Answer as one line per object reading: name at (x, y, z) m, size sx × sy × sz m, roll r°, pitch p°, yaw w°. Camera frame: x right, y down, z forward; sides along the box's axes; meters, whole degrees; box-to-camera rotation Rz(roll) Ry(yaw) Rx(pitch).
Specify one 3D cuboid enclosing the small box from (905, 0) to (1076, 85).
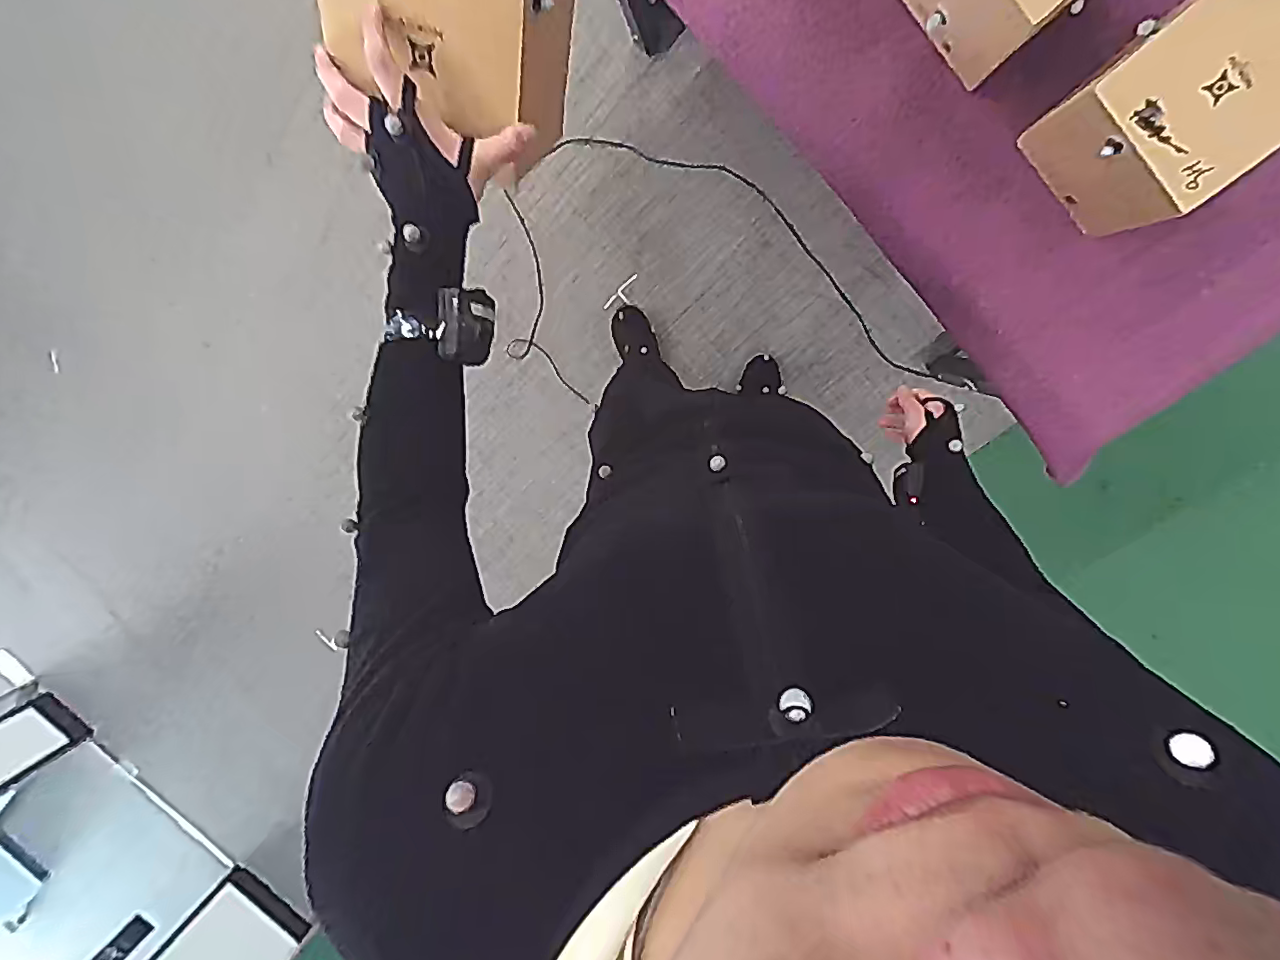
small box at (0.416, -0.583, 0.576) m, size 0.179 × 0.176 × 0.168 m, roll -38°, pitch 96°, yaw 20°

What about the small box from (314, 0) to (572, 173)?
small box at (-0.161, -0.411, 0.479) m, size 0.168 × 0.176 × 0.179 m, roll 15°, pitch 135°, yaw -2°

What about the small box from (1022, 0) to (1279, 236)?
small box at (0.582, -0.403, 0.596) m, size 0.179 × 0.176 × 0.168 m, roll -39°, pitch 95°, yaw 18°
